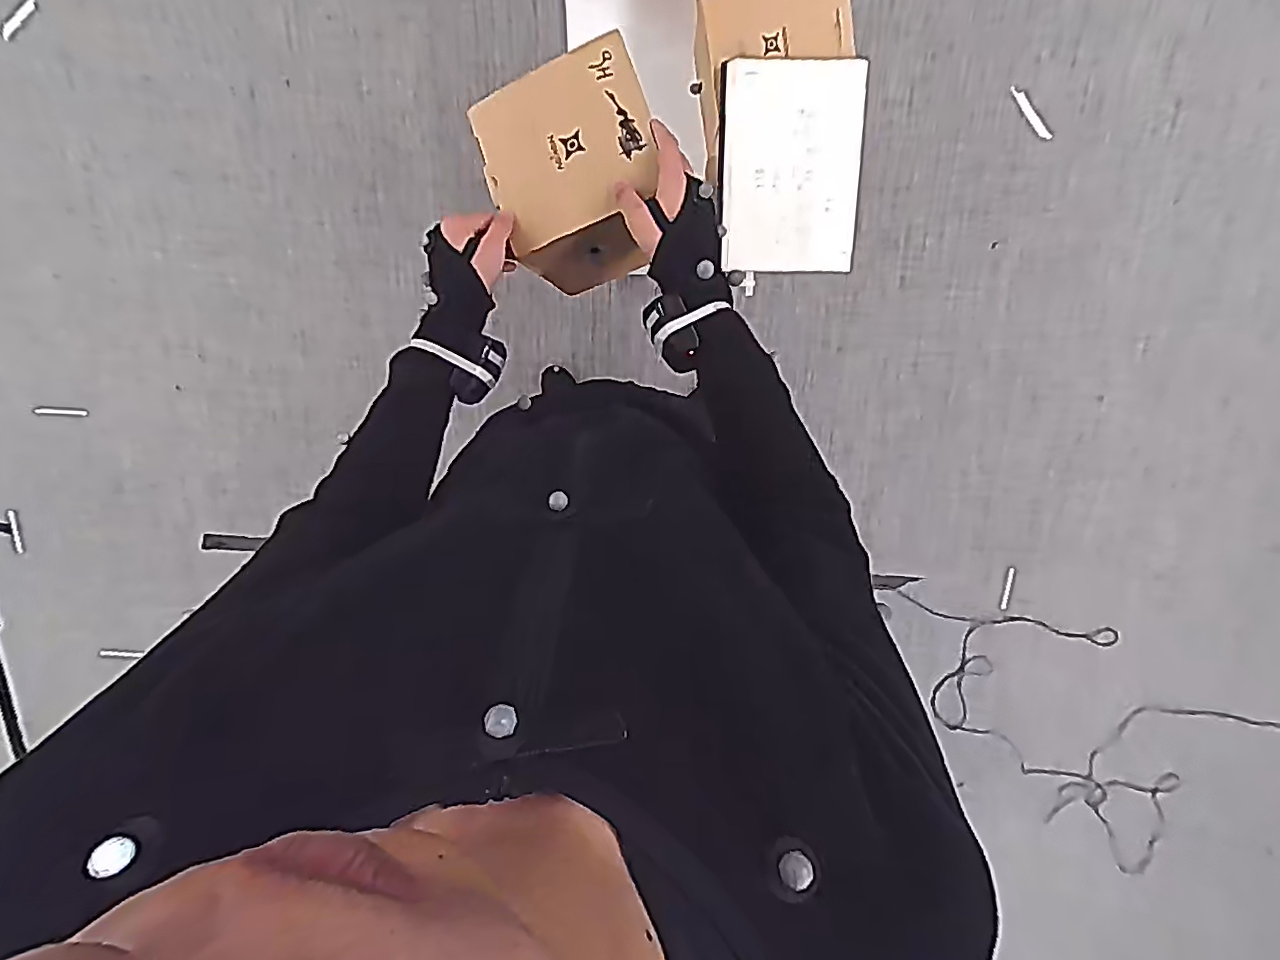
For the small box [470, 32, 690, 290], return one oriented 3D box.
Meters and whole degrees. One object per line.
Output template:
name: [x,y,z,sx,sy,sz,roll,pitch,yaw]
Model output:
small box: [-0.057,-0.340,0.621,0.179,0.176,0.168,-18,92,15]
